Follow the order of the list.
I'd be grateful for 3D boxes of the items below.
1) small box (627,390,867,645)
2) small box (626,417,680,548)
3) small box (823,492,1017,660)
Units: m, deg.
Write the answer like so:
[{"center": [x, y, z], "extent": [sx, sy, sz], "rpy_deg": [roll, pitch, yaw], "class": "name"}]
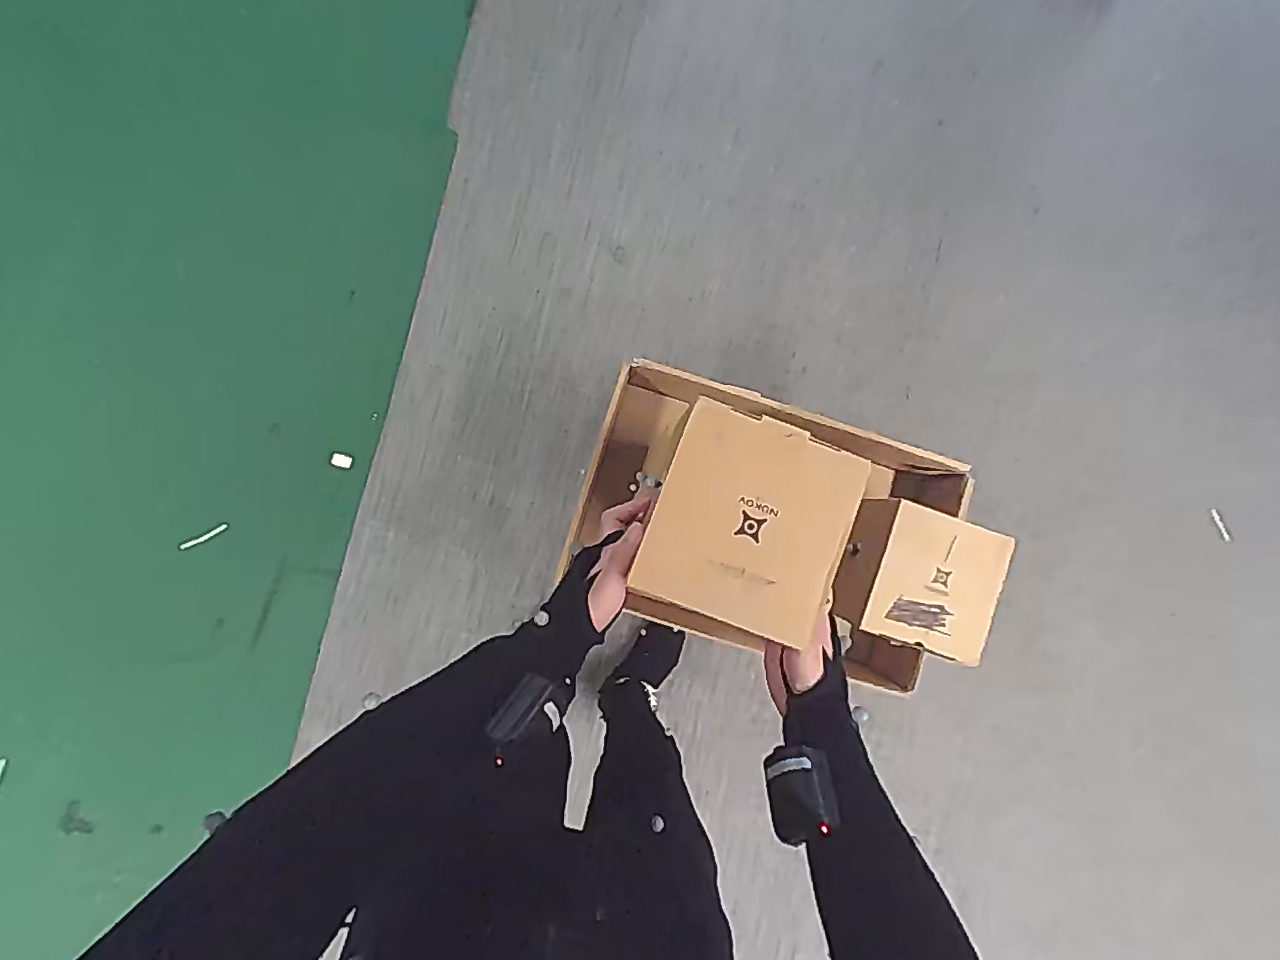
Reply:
[{"center": [0.089, 0.035, 0.538], "extent": [0.168, 0.176, 0.179], "rpy_deg": [20, 86, 0], "class": "small box"}, {"center": [0.081, 0.032, 0.747], "extent": [0.168, 0.176, 0.179], "rpy_deg": [19, 87, -2], "class": "small box"}, {"center": [0.373, 0.123, 0.761], "extent": [0.168, 0.176, 0.179], "rpy_deg": [18, 87, -3], "class": "small box"}]
